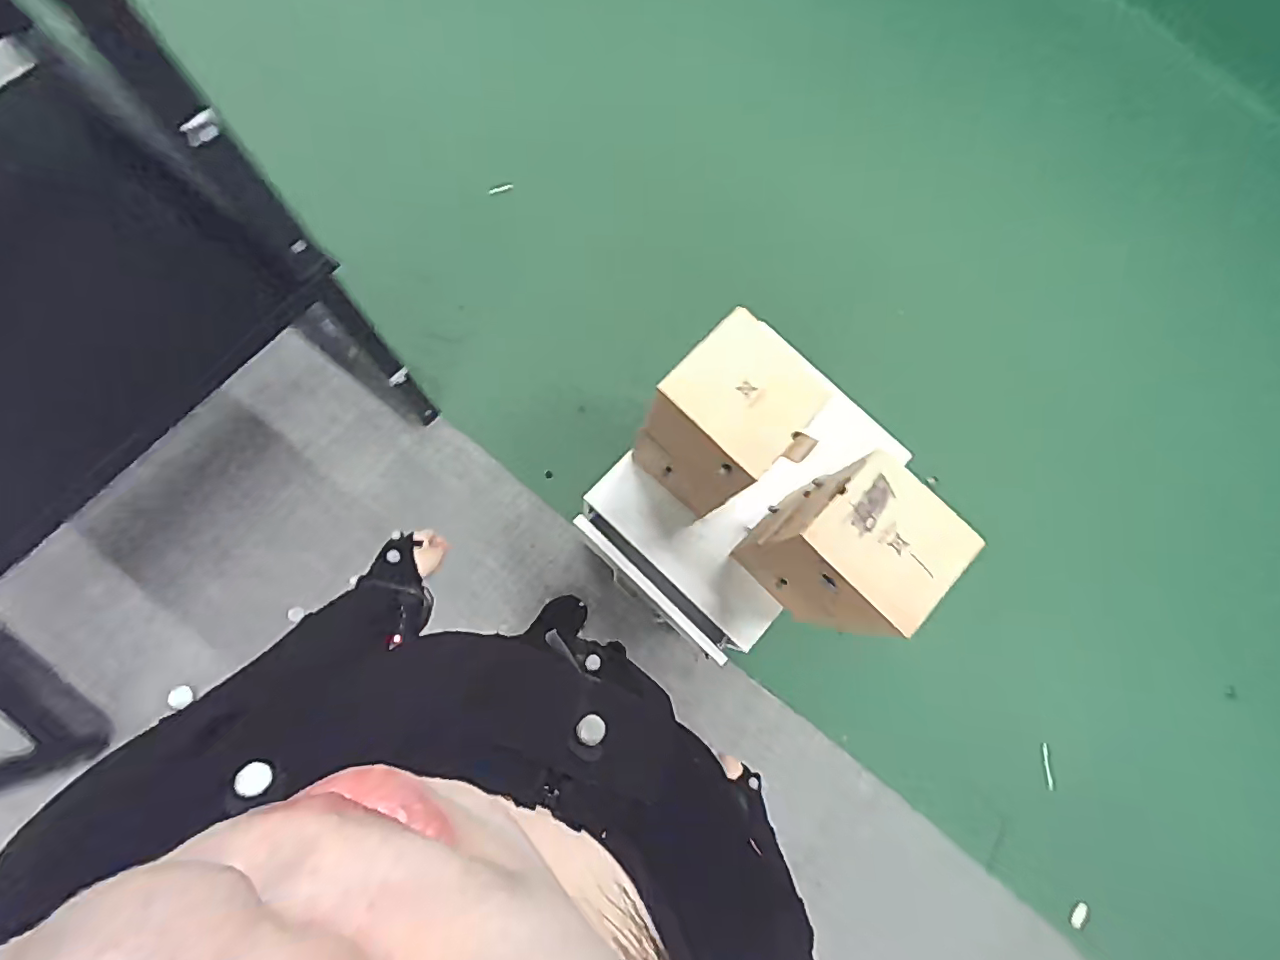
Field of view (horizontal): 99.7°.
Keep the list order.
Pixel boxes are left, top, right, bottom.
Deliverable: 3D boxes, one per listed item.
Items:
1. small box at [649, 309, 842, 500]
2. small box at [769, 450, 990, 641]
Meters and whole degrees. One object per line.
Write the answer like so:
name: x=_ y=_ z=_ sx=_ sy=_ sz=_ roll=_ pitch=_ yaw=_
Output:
small box: x=0.132 y=-0.092 z=0.753 sx=0.179 sy=0.176 sz=0.168 roll=44 pitch=77 yaw=3
small box: x=0.304 y=0.093 z=0.727 sx=0.168 sy=0.176 sz=0.179 roll=-43 pitch=85 yaw=-12
